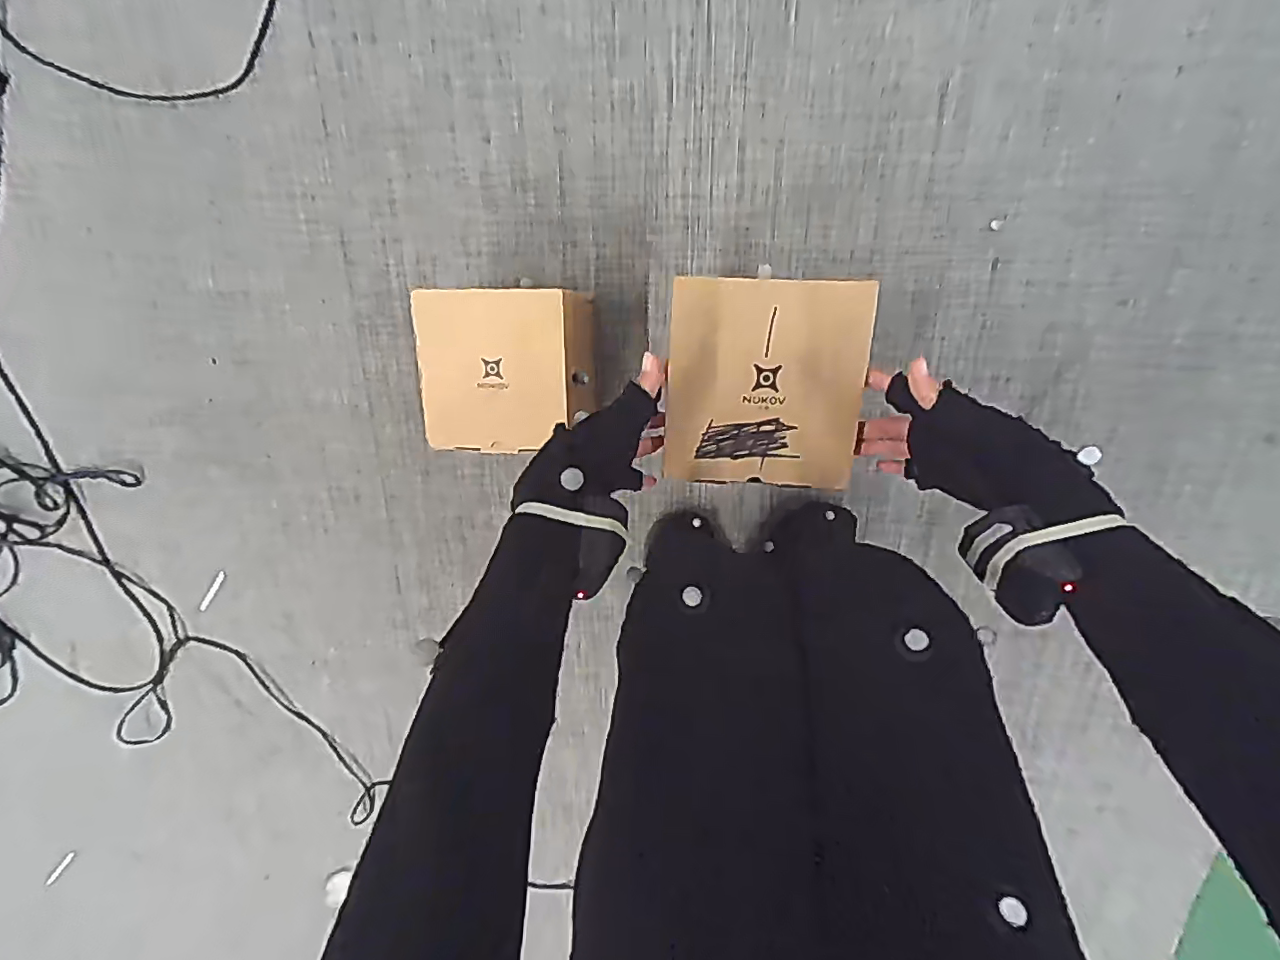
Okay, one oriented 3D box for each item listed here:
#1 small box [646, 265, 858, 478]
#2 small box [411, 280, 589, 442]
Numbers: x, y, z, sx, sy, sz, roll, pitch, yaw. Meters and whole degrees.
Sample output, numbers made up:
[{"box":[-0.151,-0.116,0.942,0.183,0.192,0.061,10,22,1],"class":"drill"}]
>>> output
[{"box":[0.098,-0.114,0.538,0.168,0.176,0.179,3,108,4],"class":"small box"},{"box":[-0.160,-0.153,0.677,0.168,0.176,0.179,1,108,5],"class":"small box"}]
